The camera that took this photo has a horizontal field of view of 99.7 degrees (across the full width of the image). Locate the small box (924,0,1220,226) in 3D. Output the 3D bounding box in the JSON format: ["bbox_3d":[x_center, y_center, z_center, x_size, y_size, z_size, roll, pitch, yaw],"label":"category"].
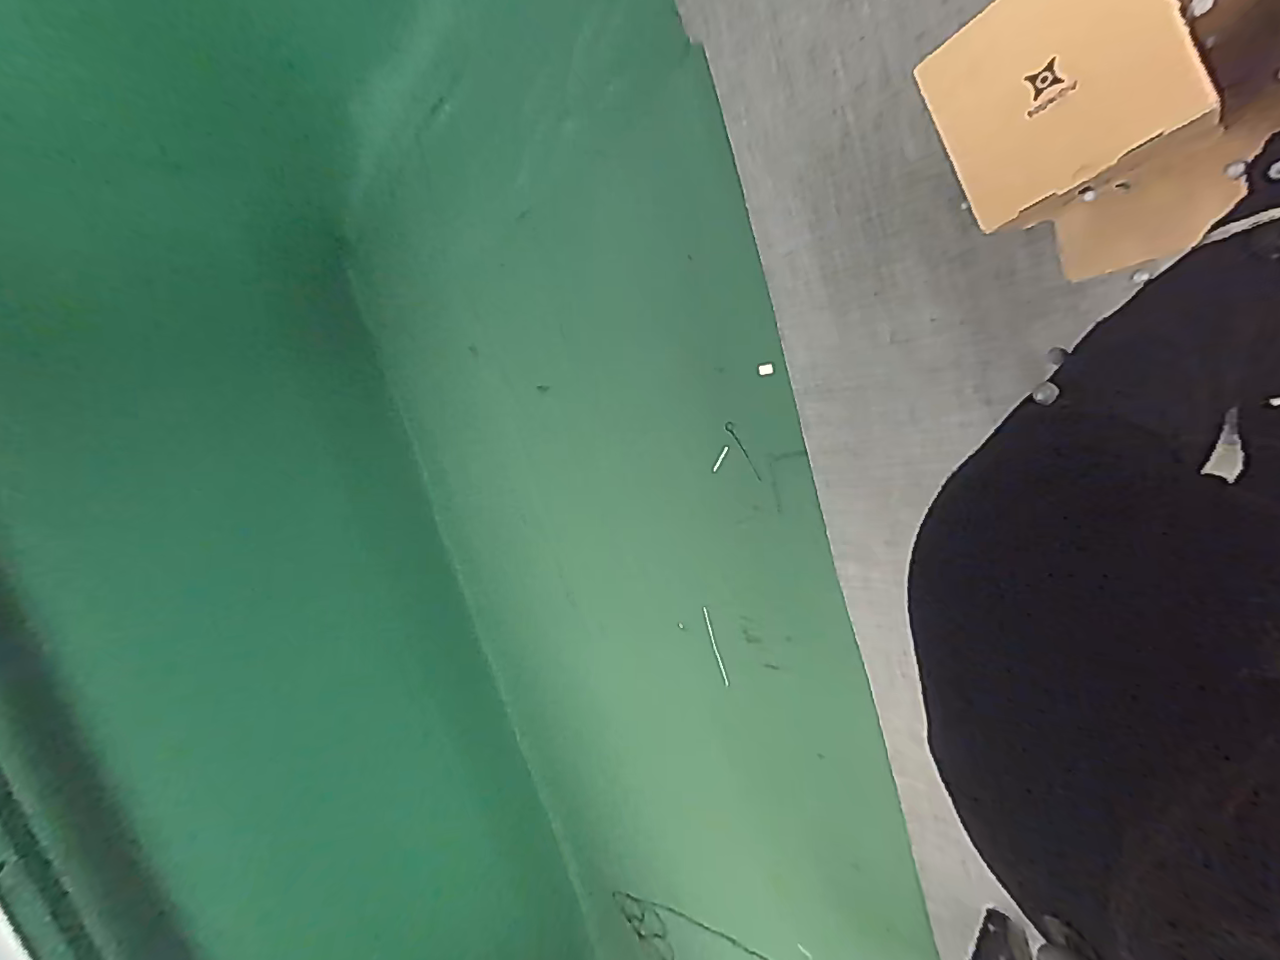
[{"bbox_3d":[0.411,-0.369,0.521,0.168,0.176,0.179,-22,93,49],"label":"small box"}]
